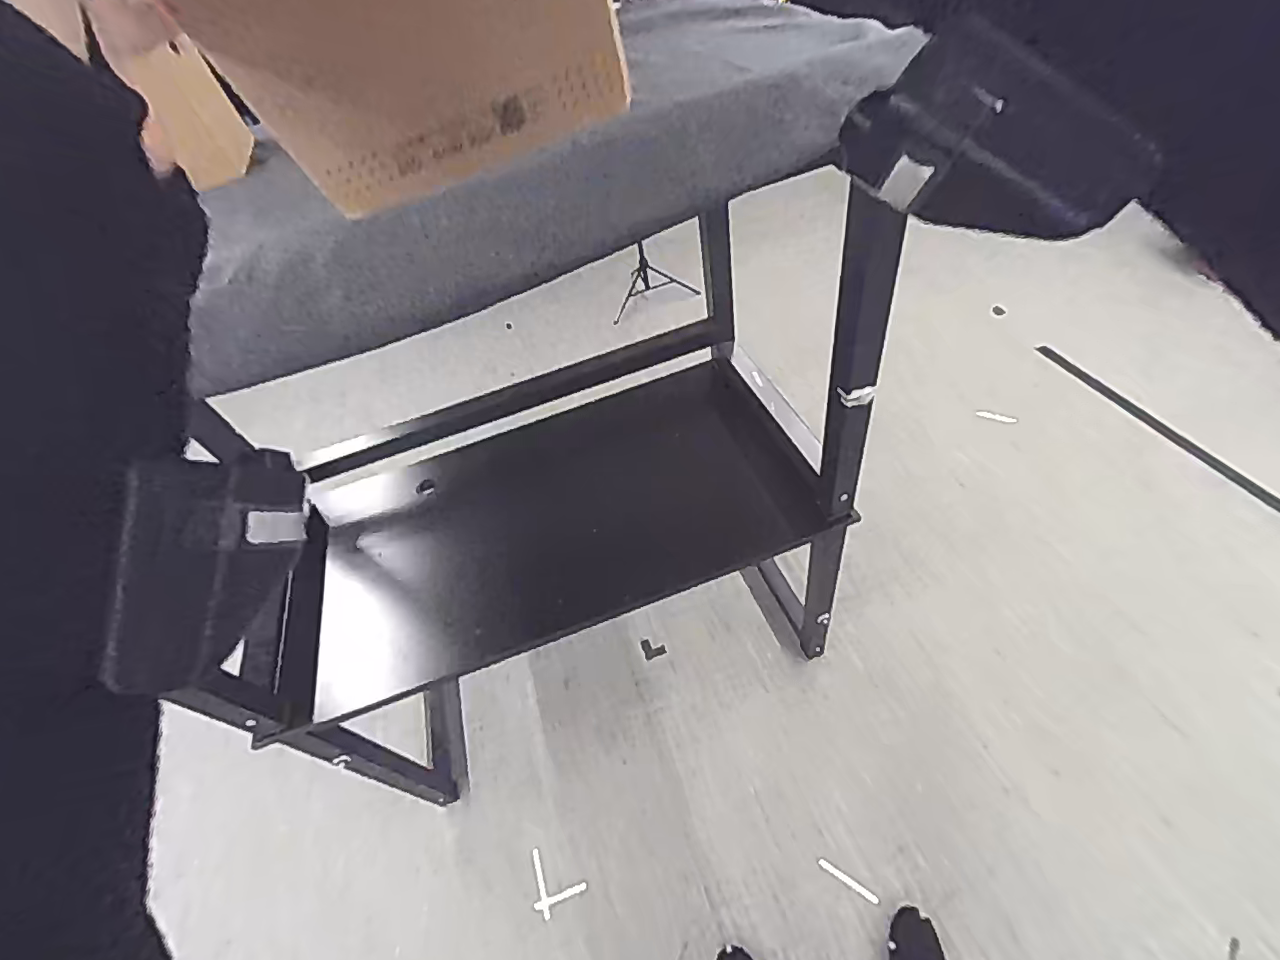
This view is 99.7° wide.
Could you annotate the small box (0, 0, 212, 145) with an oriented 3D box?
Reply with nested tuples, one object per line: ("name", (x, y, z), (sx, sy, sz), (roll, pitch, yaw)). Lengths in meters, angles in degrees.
("small box", (-0.625, -0.503, 0.603), (0.168, 0.176, 0.179), (-23, 50, -7))
